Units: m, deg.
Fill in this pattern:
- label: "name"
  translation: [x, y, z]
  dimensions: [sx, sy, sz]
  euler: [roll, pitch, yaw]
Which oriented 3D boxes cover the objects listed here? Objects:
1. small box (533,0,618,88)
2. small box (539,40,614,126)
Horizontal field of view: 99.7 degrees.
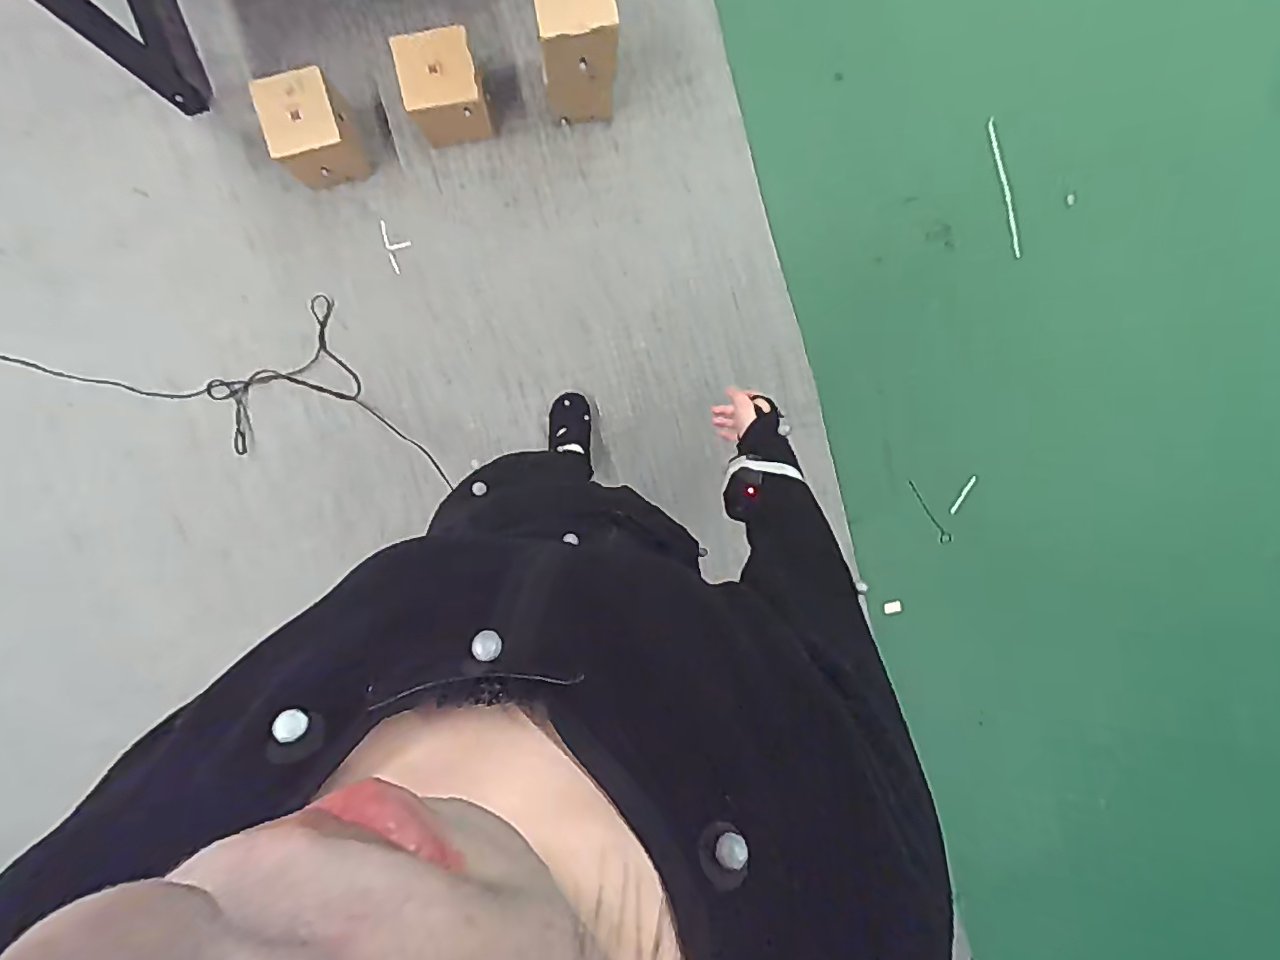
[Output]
- label: "small box"
  translation: [-0.141, -0.993, 1.177]
  dimensions: [0.168, 0.176, 0.179]
  euler: [-11, 95, -2]
- label: "small box"
  translation: [-0.154, -1.010, 1.341]
  dimensions: [0.168, 0.176, 0.179]
  euler: [-7, 93, -2]
